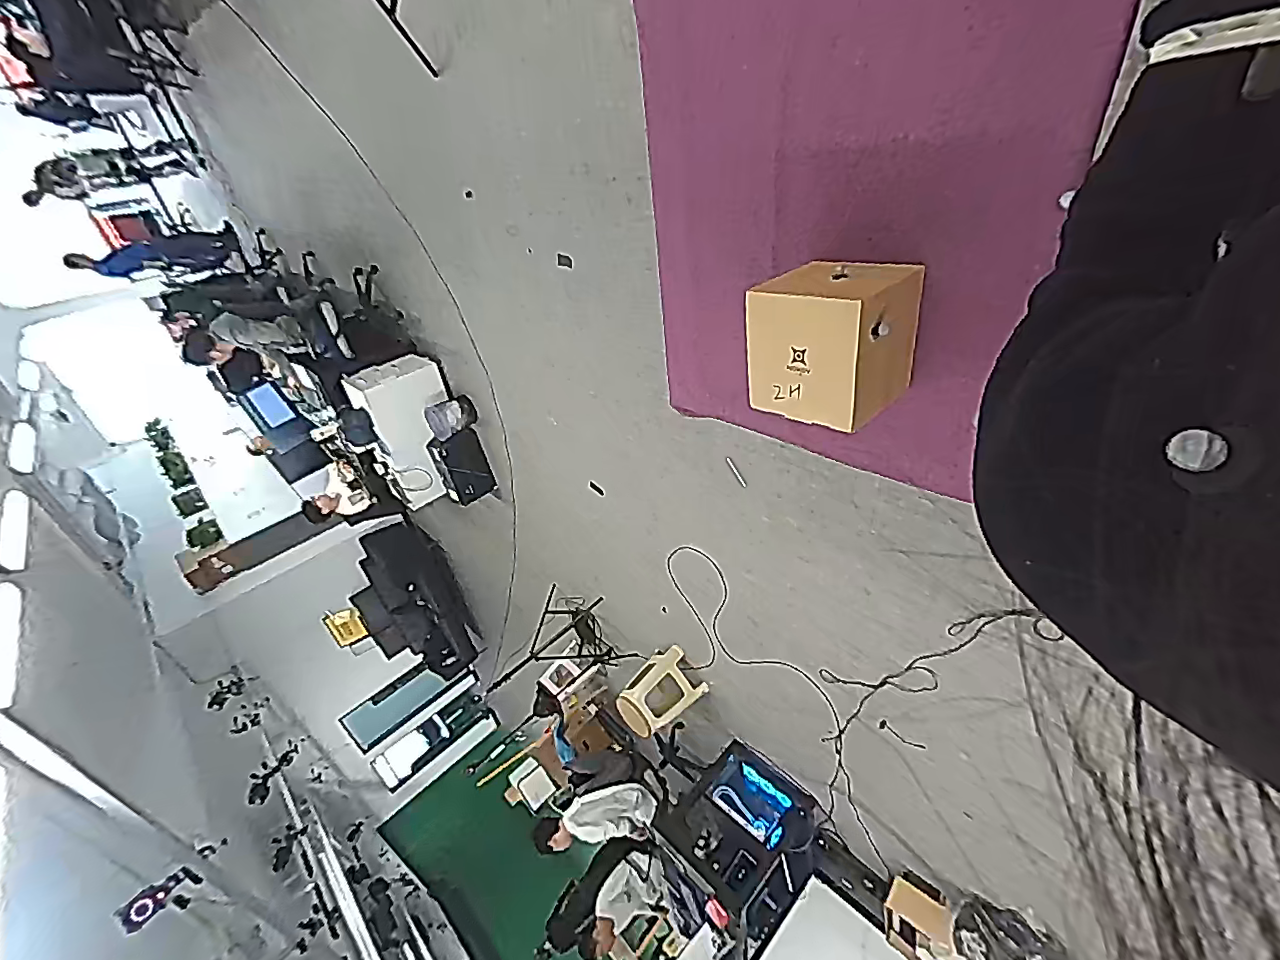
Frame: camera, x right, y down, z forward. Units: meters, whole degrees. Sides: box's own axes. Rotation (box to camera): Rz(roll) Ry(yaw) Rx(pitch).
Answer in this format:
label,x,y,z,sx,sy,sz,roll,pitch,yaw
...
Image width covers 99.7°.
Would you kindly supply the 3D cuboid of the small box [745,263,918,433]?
label,x,y,z,sx,sy,sz,roll,pitch,yaw
small box,0.264,-0.194,0.754,0.168,0.176,0.179,25,136,42
